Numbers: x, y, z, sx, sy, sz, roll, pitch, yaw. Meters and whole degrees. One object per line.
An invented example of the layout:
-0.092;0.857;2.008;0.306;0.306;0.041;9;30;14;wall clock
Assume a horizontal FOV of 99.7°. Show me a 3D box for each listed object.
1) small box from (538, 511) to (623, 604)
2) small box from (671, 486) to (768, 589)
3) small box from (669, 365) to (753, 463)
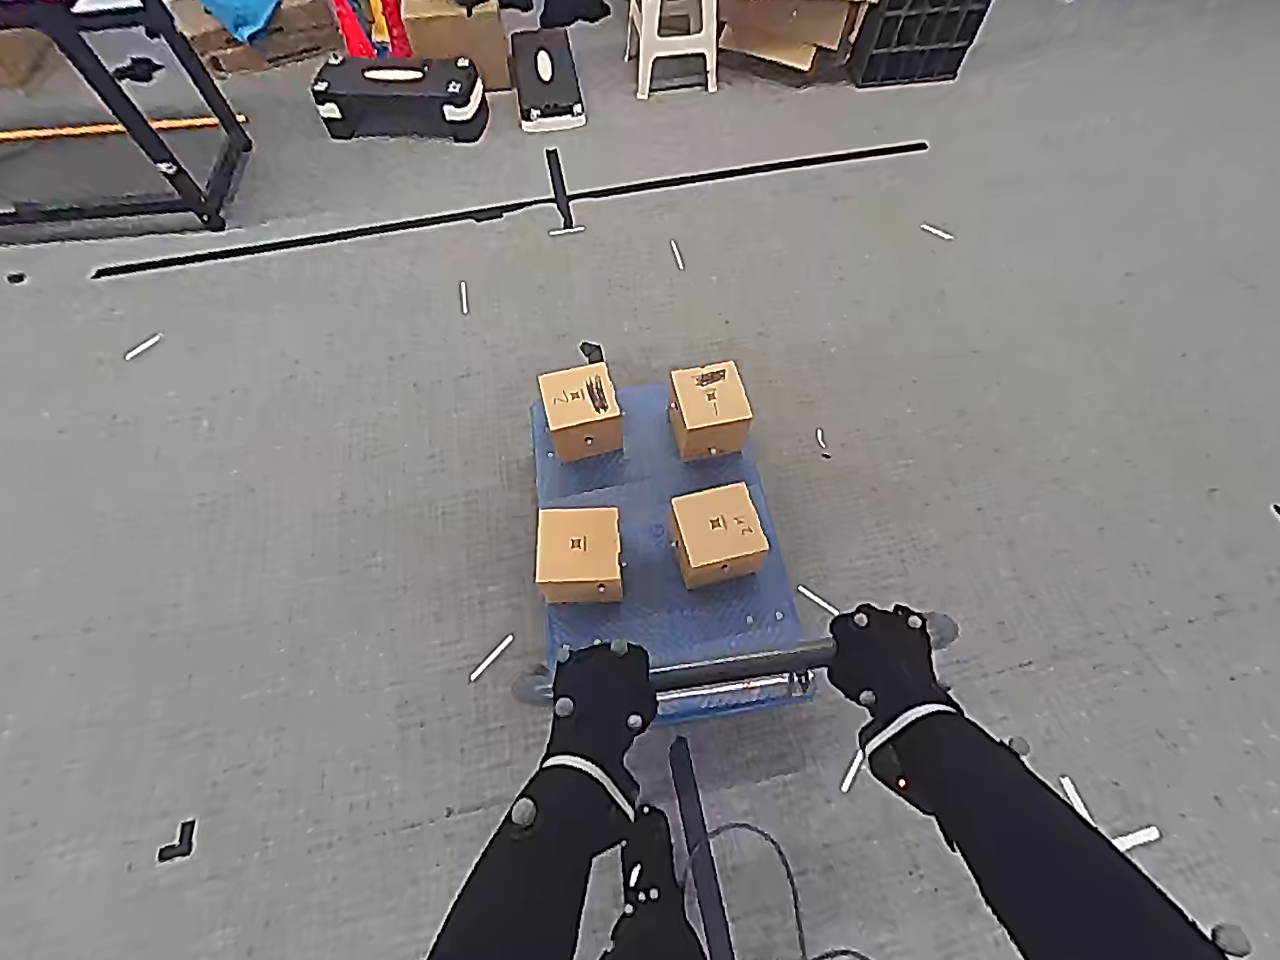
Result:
-0.129;0.180;1.223;0.179;0.176;0.168;-2;63;-3;small box
0.173;0.137;1.243;0.179;0.176;0.168;-13;64;-6;small box
0.174;-0.166;1.393;0.168;0.176;0.179;-11;65;-5;small box
